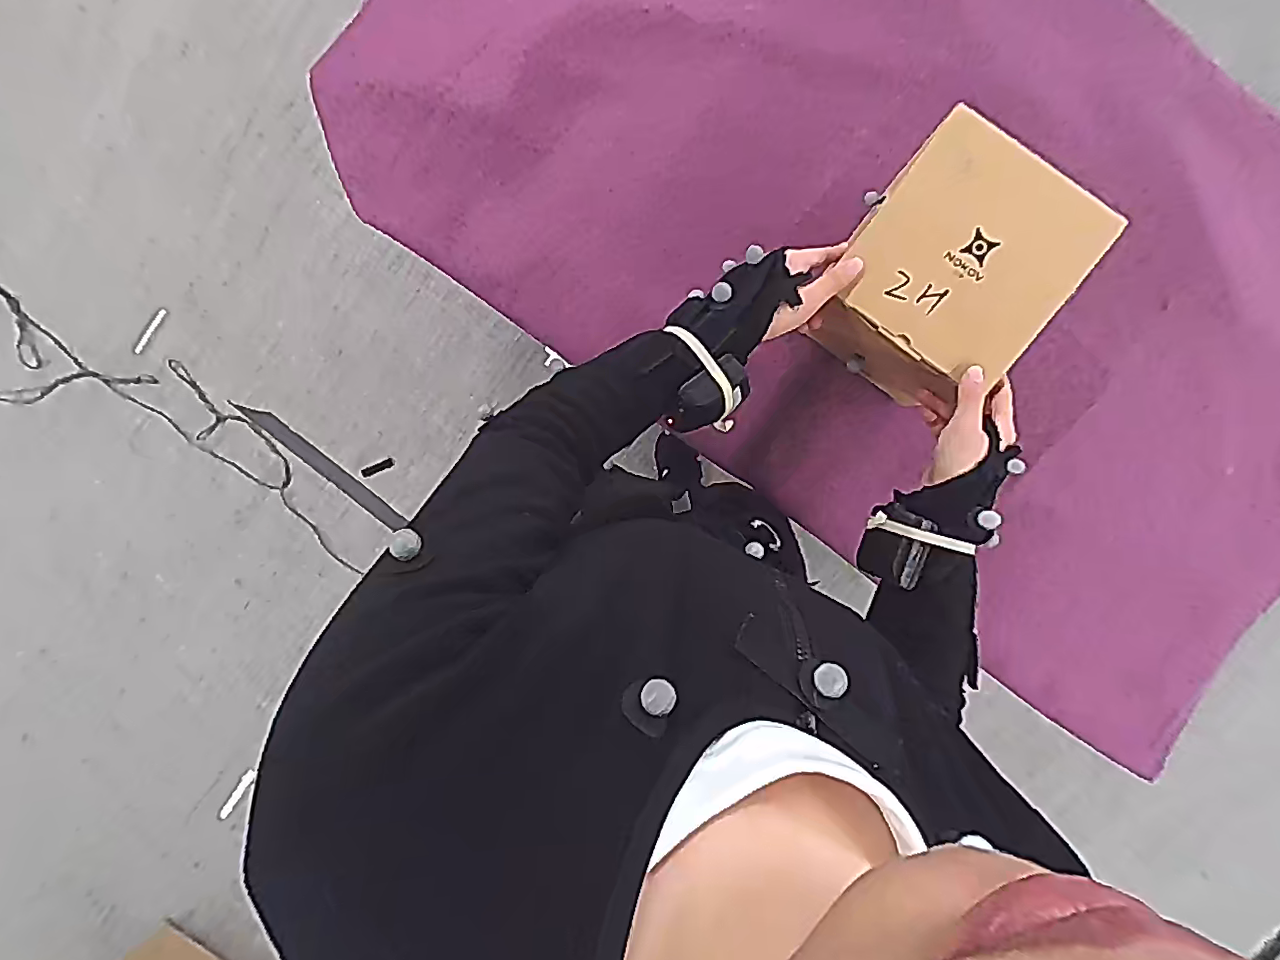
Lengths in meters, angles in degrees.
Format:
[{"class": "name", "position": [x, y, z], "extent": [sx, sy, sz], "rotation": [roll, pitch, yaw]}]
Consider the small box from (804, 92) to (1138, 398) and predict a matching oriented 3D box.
[{"class": "small box", "position": [0.276, -0.194, 0.506], "extent": [0.168, 0.176, 0.179], "rotation": [37, 101, 1]}]

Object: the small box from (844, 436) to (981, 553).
[{"class": "small box", "position": [0.559, 0.024, 1.145], "extent": [0.168, 0.176, 0.179], "rotation": [39, 96, -1]}]
